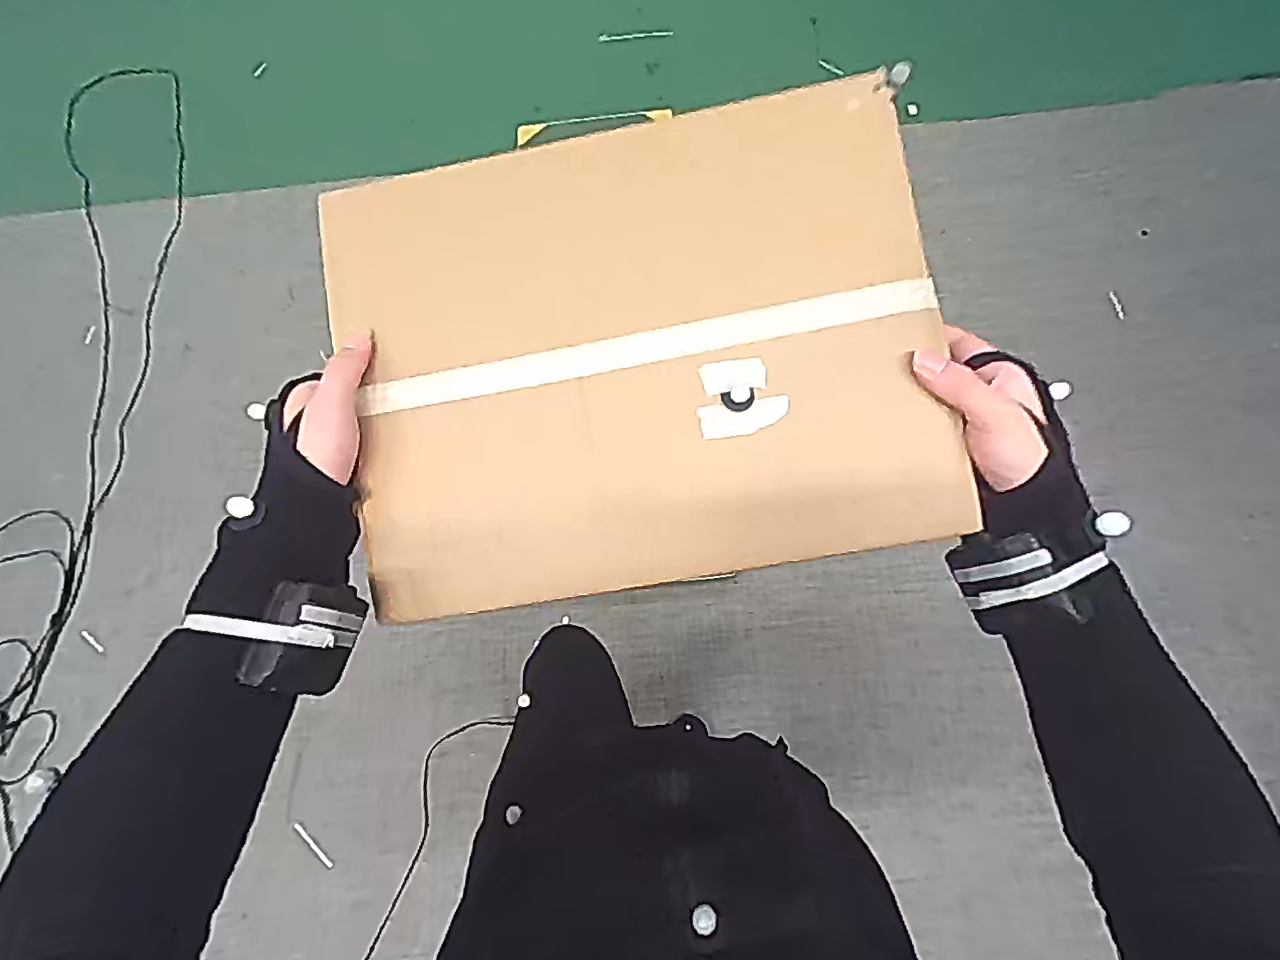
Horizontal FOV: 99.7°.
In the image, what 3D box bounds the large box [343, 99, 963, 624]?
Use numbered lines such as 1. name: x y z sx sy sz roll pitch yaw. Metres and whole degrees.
1. large box: 0.006 -0.074 0.531 0.408 0.320 0.320 -10 87 4
